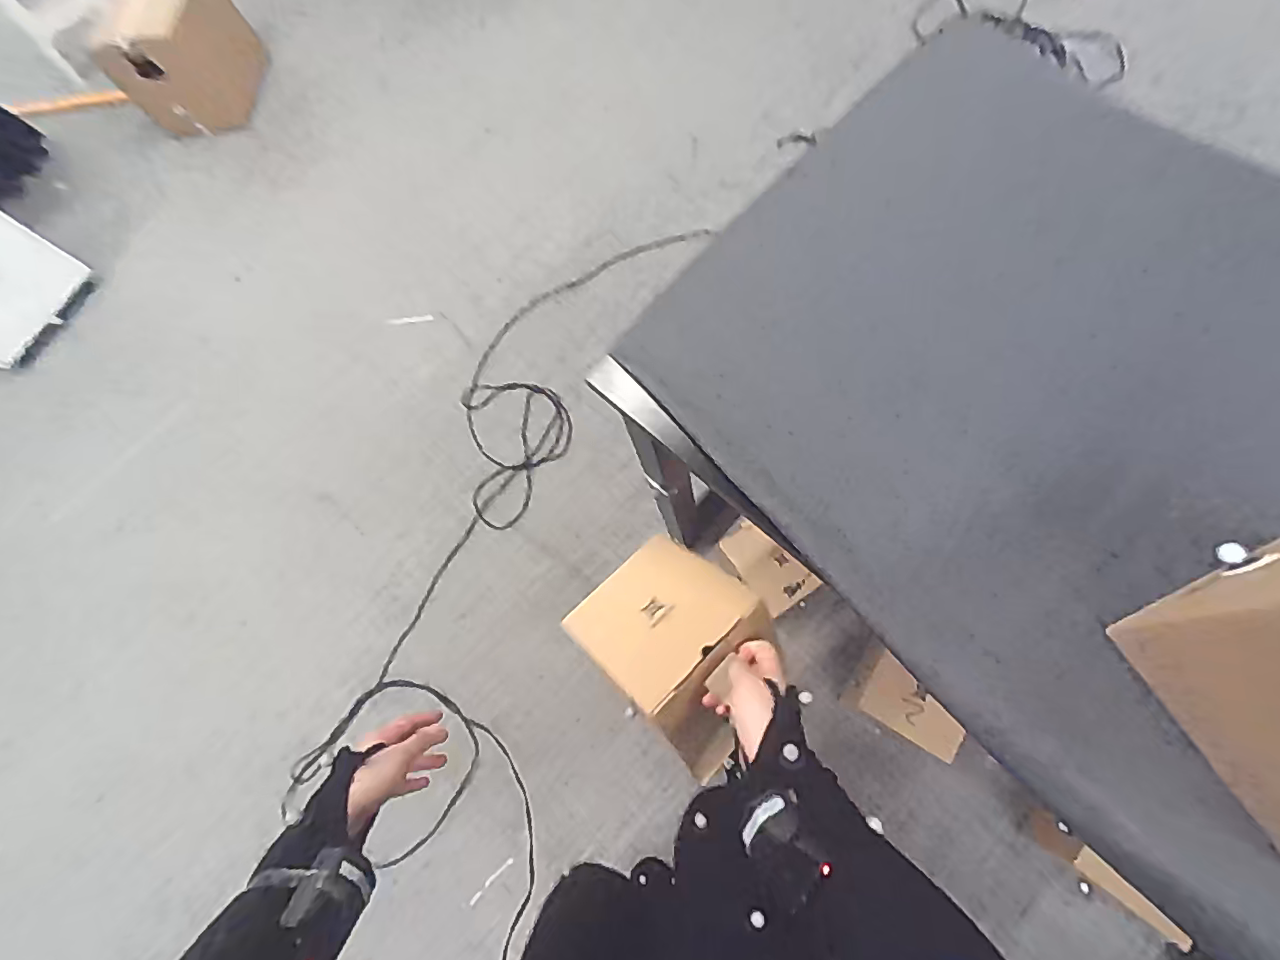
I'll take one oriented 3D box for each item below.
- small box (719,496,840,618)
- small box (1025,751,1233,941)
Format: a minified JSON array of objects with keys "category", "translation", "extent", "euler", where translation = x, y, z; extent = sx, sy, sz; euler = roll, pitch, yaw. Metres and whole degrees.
[{"category":"small box","translation":[0.278,0.166,1.120],"extent":[0.168,0.176,0.179],"euler":[-34,69,-4]},{"category":"small box","translation":[0.785,0.584,0.894],"extent":[0.168,0.176,0.179],"euler":[36,80,18]}]
